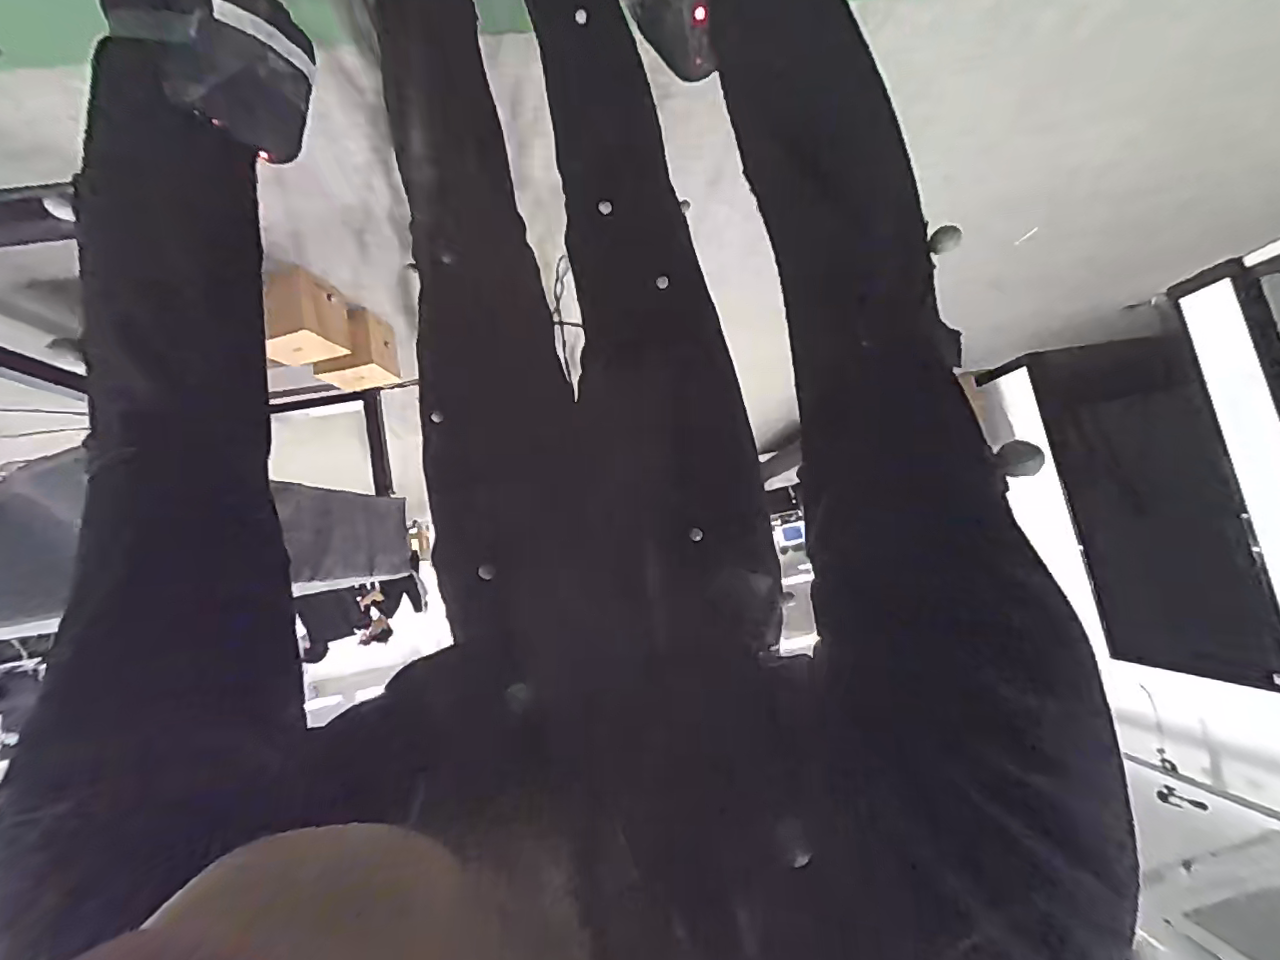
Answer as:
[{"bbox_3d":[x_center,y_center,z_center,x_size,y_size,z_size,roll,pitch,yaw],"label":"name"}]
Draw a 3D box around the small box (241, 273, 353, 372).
[{"bbox_3d":[-0.846,-0.385,1.338,0.179,0.176,0.168,-11,174,6],"label":"small box"}]
